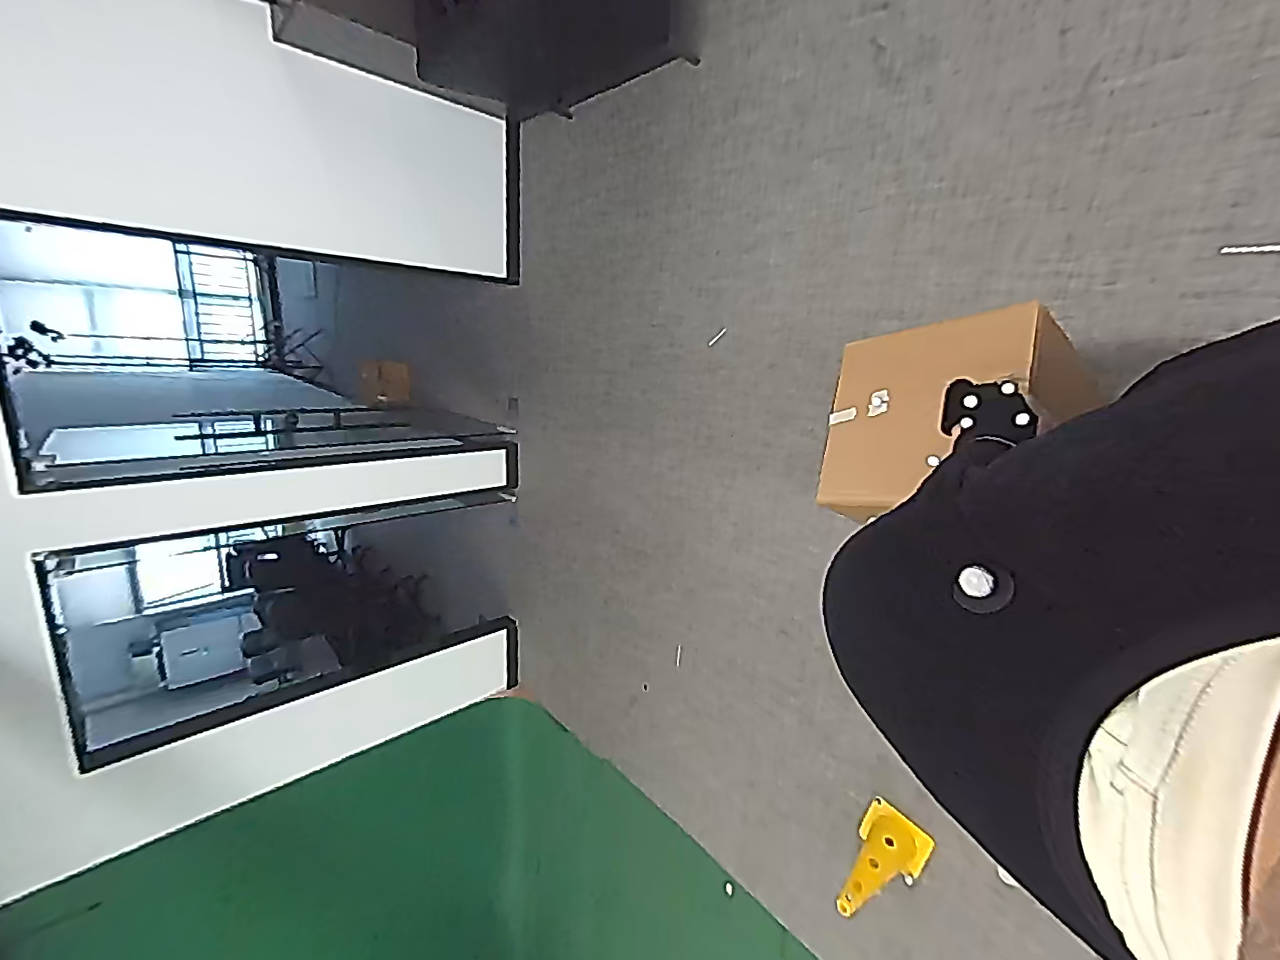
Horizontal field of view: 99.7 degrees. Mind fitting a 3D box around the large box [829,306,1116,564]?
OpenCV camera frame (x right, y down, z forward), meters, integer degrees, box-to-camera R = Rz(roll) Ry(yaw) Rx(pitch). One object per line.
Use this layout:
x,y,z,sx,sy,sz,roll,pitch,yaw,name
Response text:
0.598,-0.050,0.973,0.320,0.408,0.320,0,73,53,large box
